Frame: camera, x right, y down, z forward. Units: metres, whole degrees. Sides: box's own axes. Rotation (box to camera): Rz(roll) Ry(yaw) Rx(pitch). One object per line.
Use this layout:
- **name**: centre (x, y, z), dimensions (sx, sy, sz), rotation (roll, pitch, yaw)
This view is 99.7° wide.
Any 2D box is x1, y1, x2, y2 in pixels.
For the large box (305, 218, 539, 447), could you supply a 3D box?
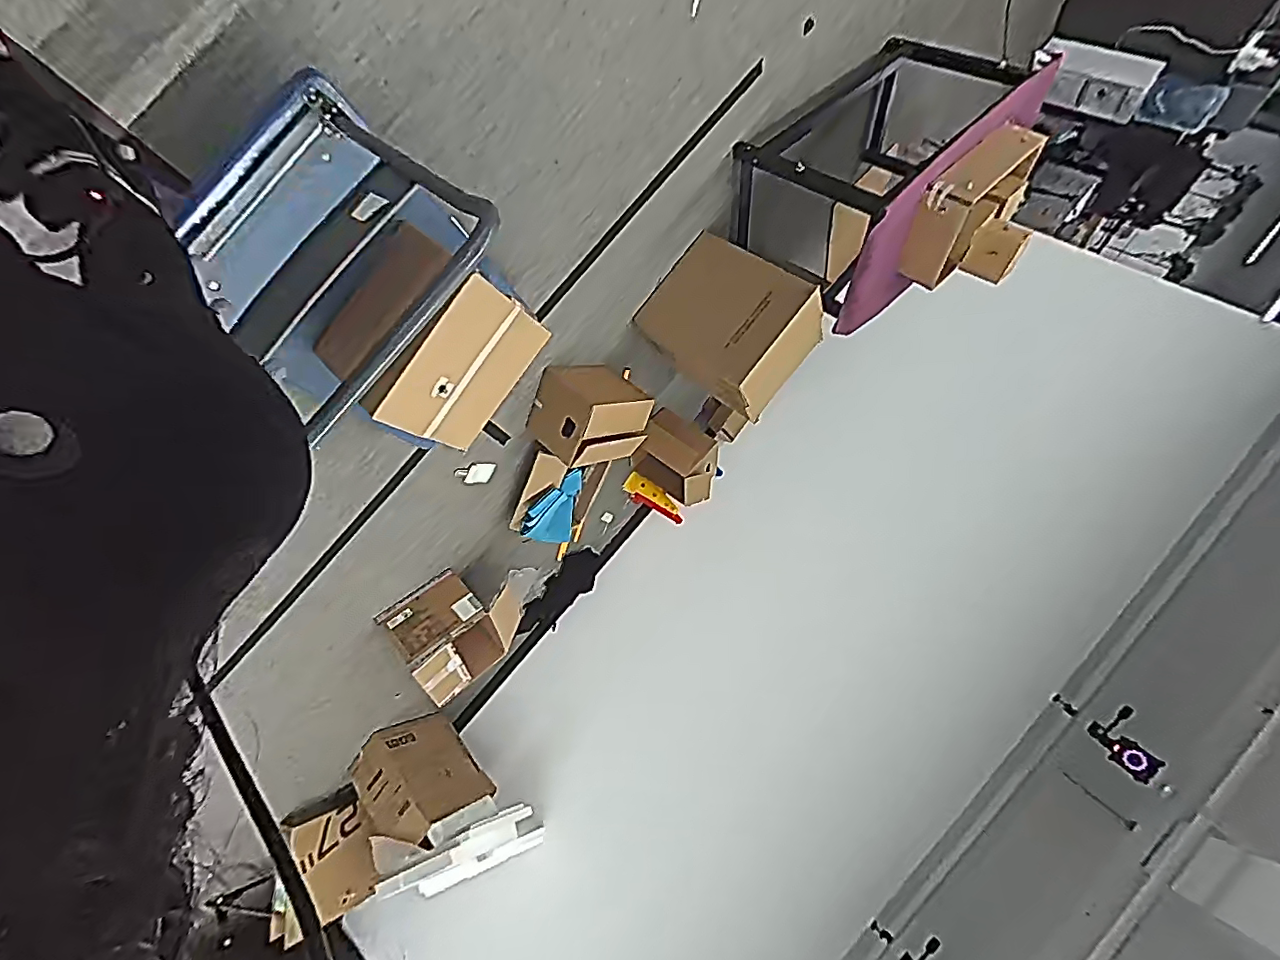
- **large box**: centre (-0.545, -0.360, 1.377), dimensions (0.408, 0.320, 0.320), rotation (-51, 154, 5)
